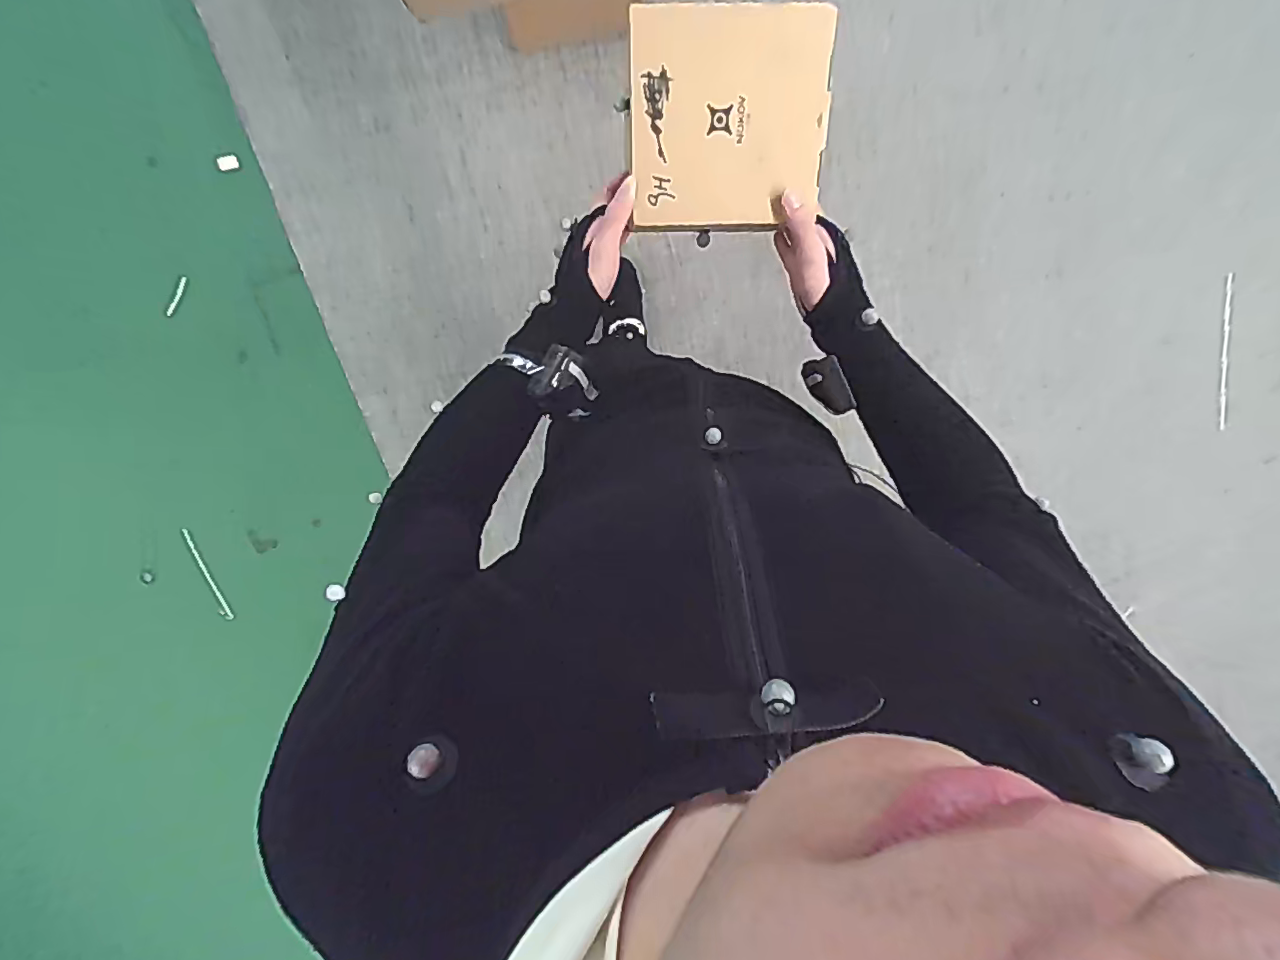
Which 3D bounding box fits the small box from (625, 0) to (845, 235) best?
[{"bbox_3d":[0.077,-0.342,0.542,0.179,0.176,0.168,-2,111,-4],"label":"small box"}]
